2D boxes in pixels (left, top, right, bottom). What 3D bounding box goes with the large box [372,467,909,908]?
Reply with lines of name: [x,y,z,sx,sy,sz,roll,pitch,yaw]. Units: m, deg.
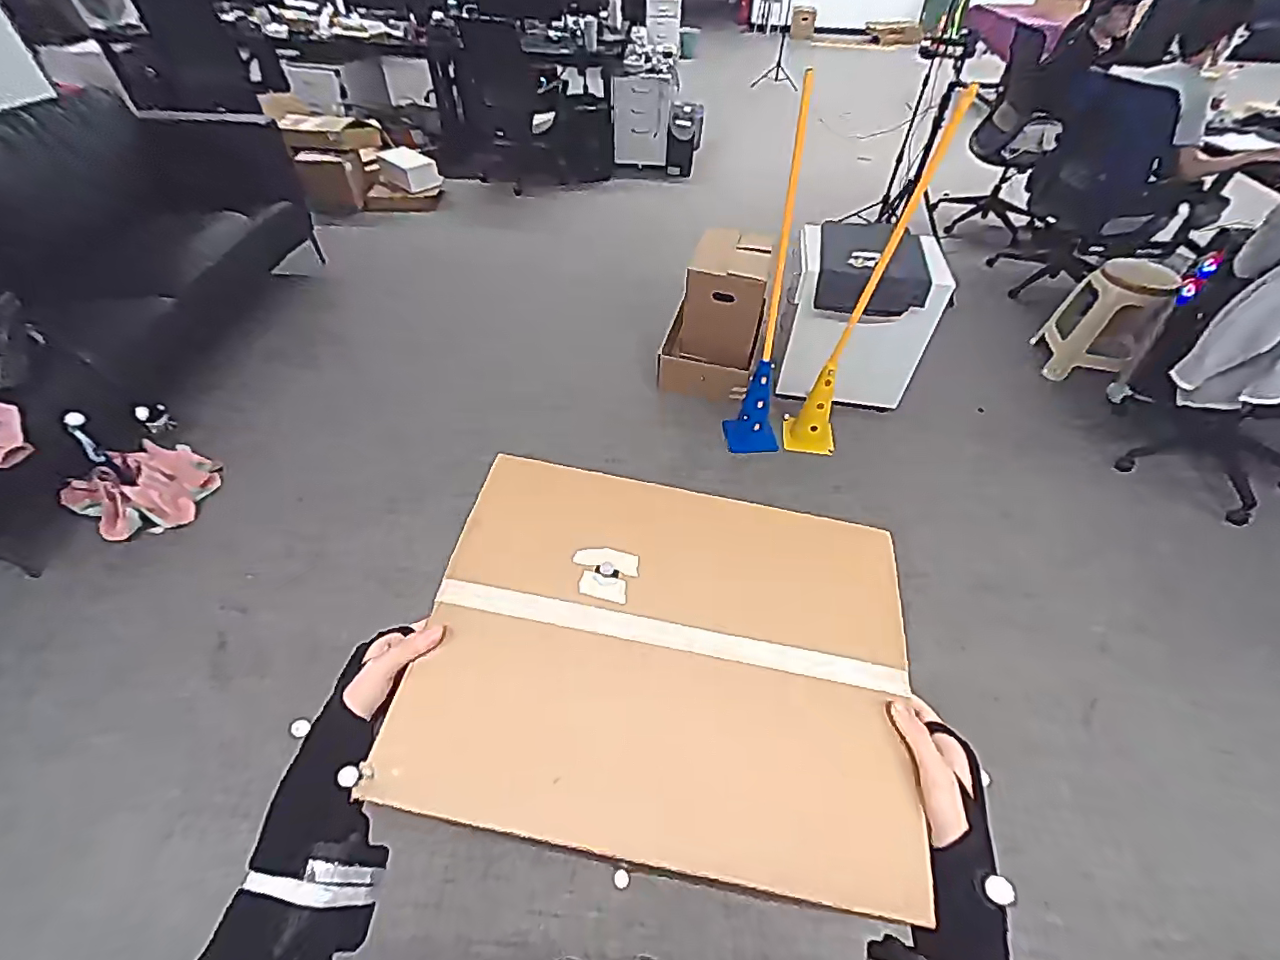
large box: [0.013,0.228,0.595,0.408,0.320,0.320,11,54,3]
